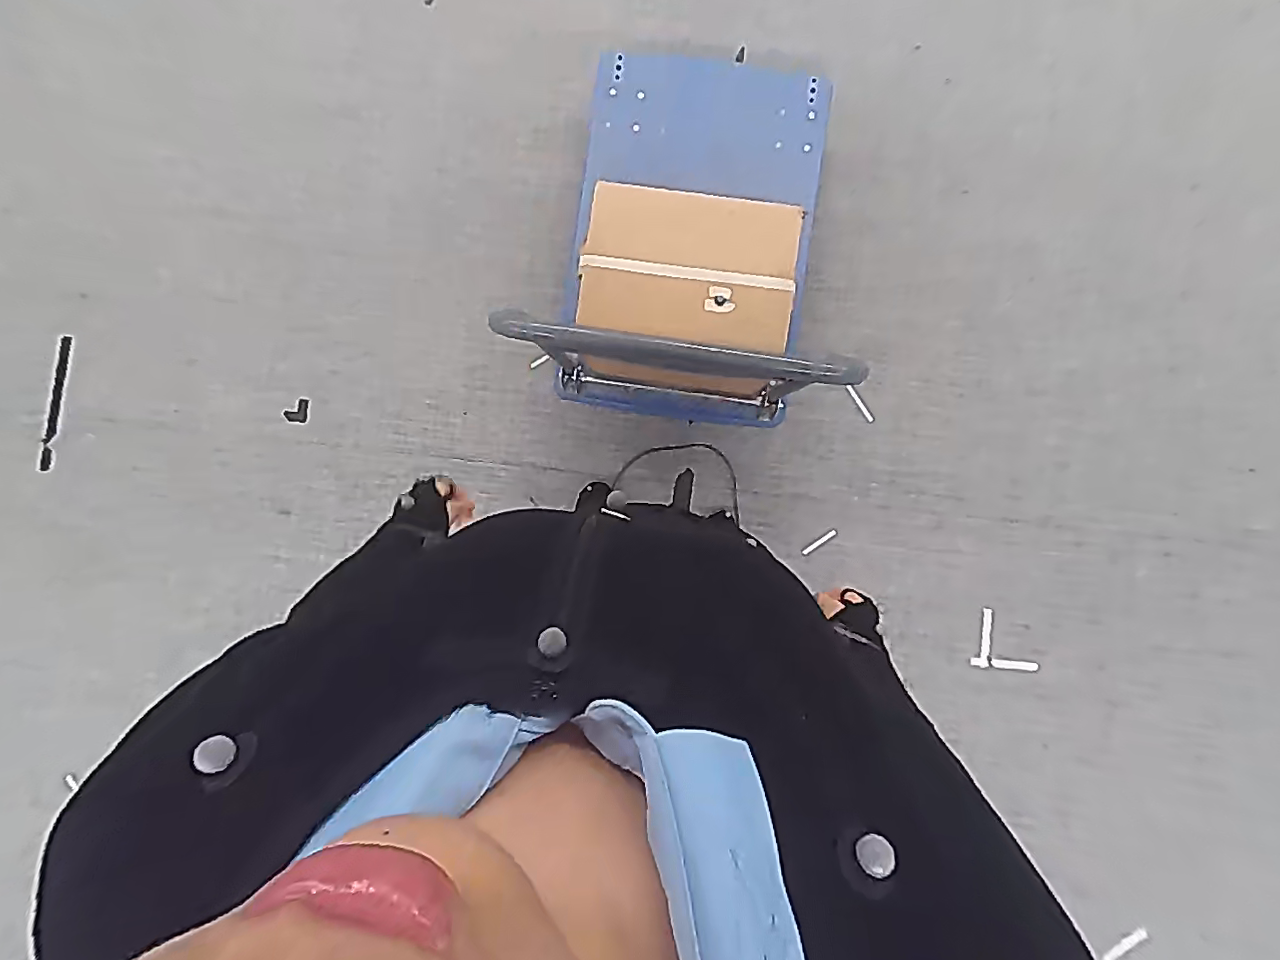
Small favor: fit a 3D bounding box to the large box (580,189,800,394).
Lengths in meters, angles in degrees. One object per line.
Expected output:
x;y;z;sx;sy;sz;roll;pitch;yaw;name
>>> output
0.097;-0.390;1.196;0.408;0.320;0.320;8;90;1;large box
